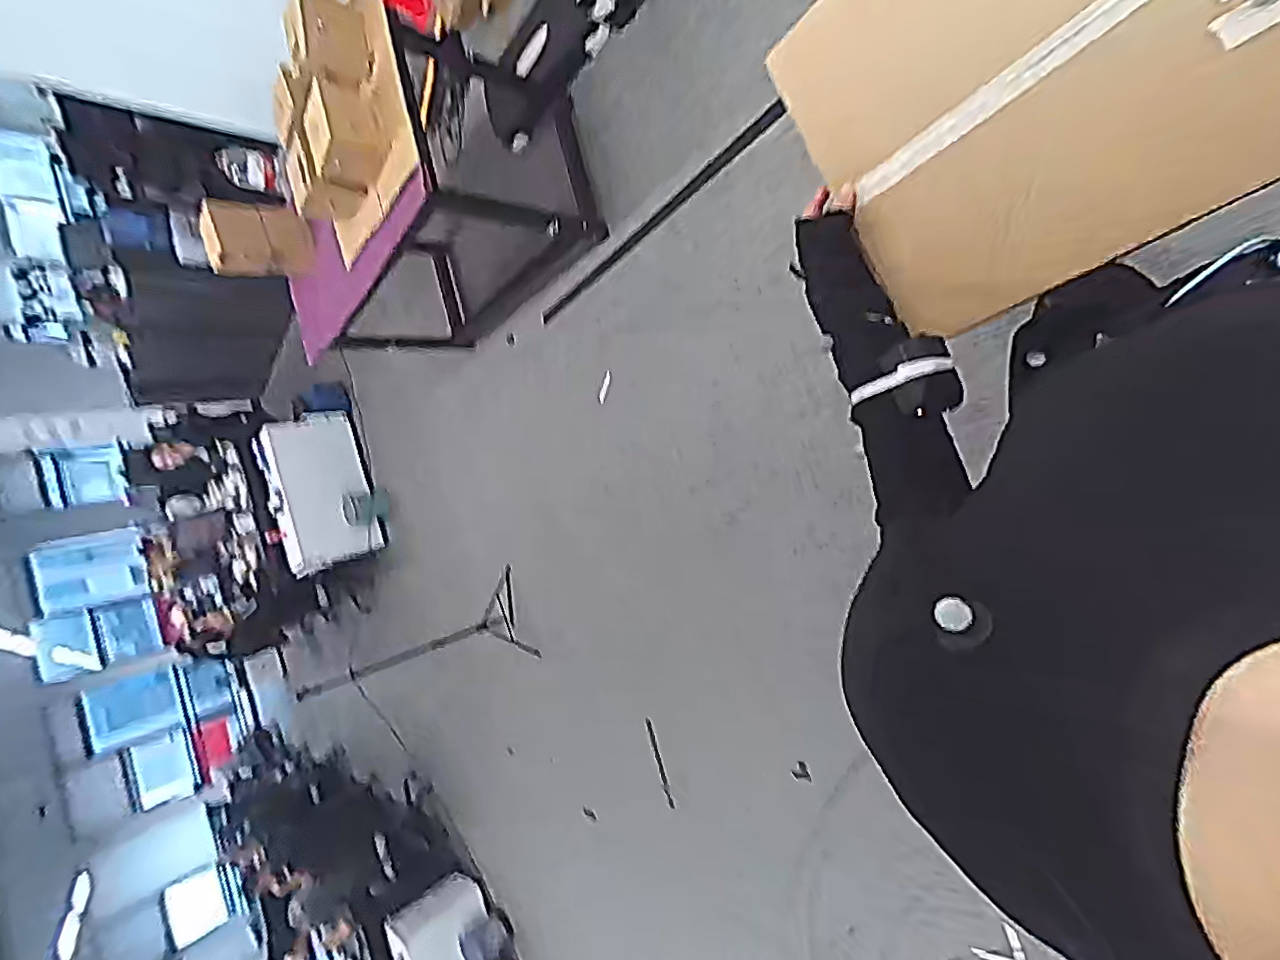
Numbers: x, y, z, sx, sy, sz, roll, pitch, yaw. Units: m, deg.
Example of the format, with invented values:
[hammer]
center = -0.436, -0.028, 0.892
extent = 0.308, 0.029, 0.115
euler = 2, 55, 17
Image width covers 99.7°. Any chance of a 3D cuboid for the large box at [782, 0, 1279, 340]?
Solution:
[large box]
center = 0.420, -0.381, 0.501
extent = 0.408, 0.320, 0.320
euler = -26, 93, 43
